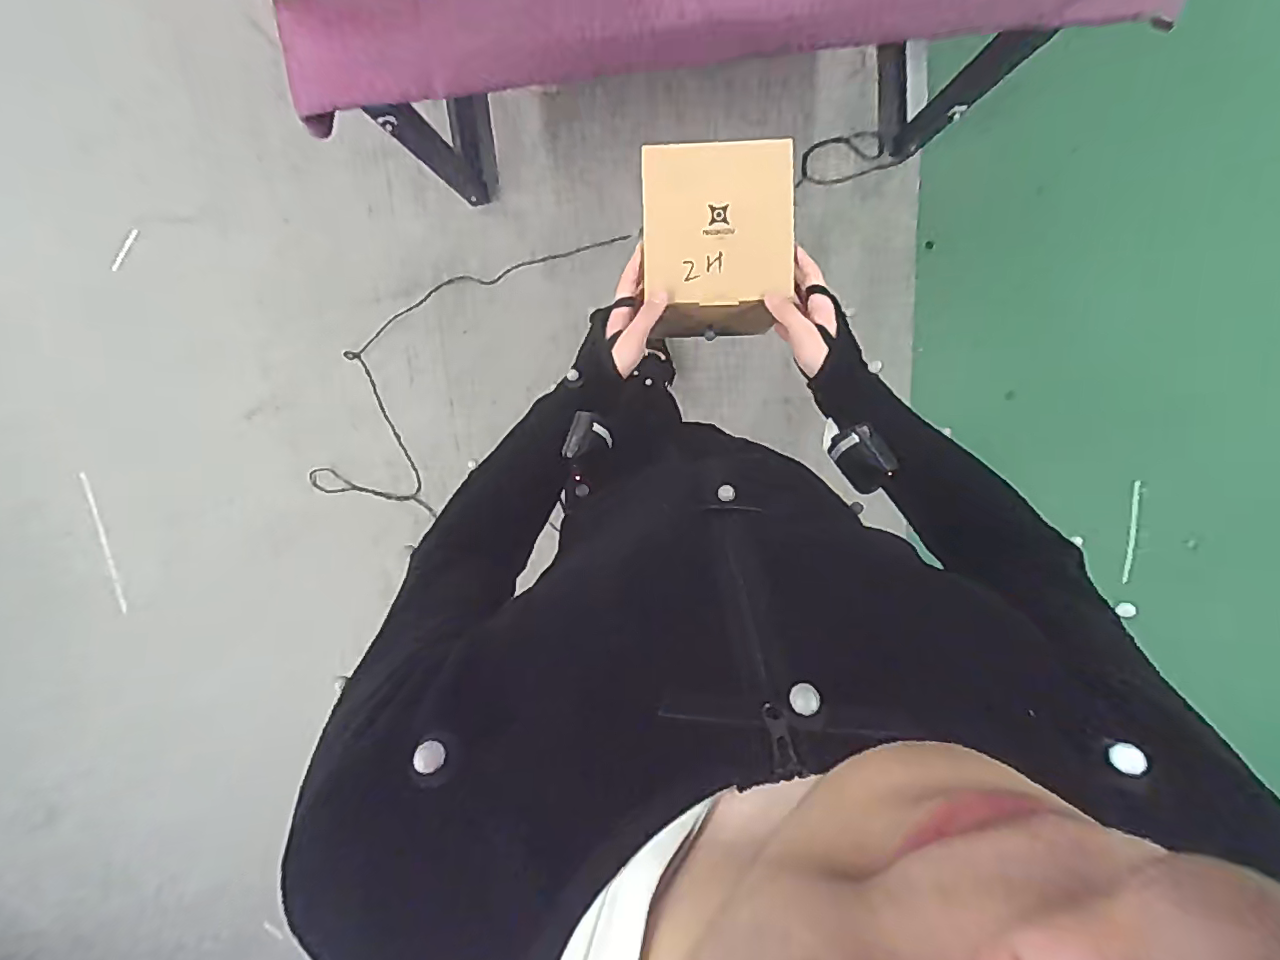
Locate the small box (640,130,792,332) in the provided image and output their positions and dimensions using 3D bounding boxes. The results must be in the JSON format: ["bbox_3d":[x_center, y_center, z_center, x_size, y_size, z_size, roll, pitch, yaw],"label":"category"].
[{"bbox_3d":[0.085,-0.290,0.662,0.168,0.176,0.179,-1,92,3],"label":"small box"}]
